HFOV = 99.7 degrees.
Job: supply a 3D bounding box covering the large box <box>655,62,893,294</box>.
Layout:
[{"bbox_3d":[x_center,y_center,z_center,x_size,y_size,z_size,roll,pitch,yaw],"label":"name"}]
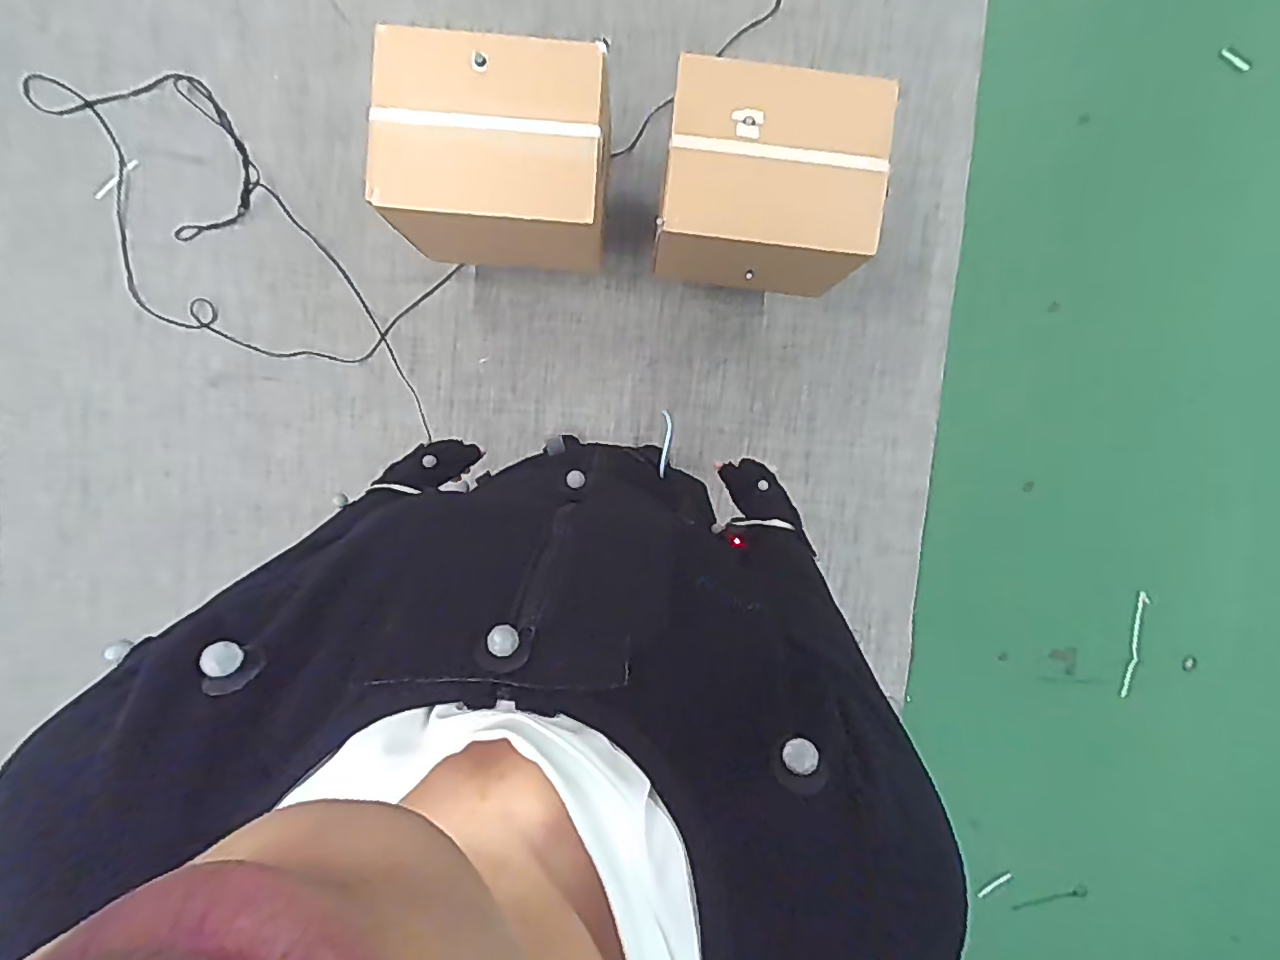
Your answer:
[{"bbox_3d":[0.253,-0.602,1.147,0.408,0.320,0.320,7,94,-2],"label":"large box"}]
